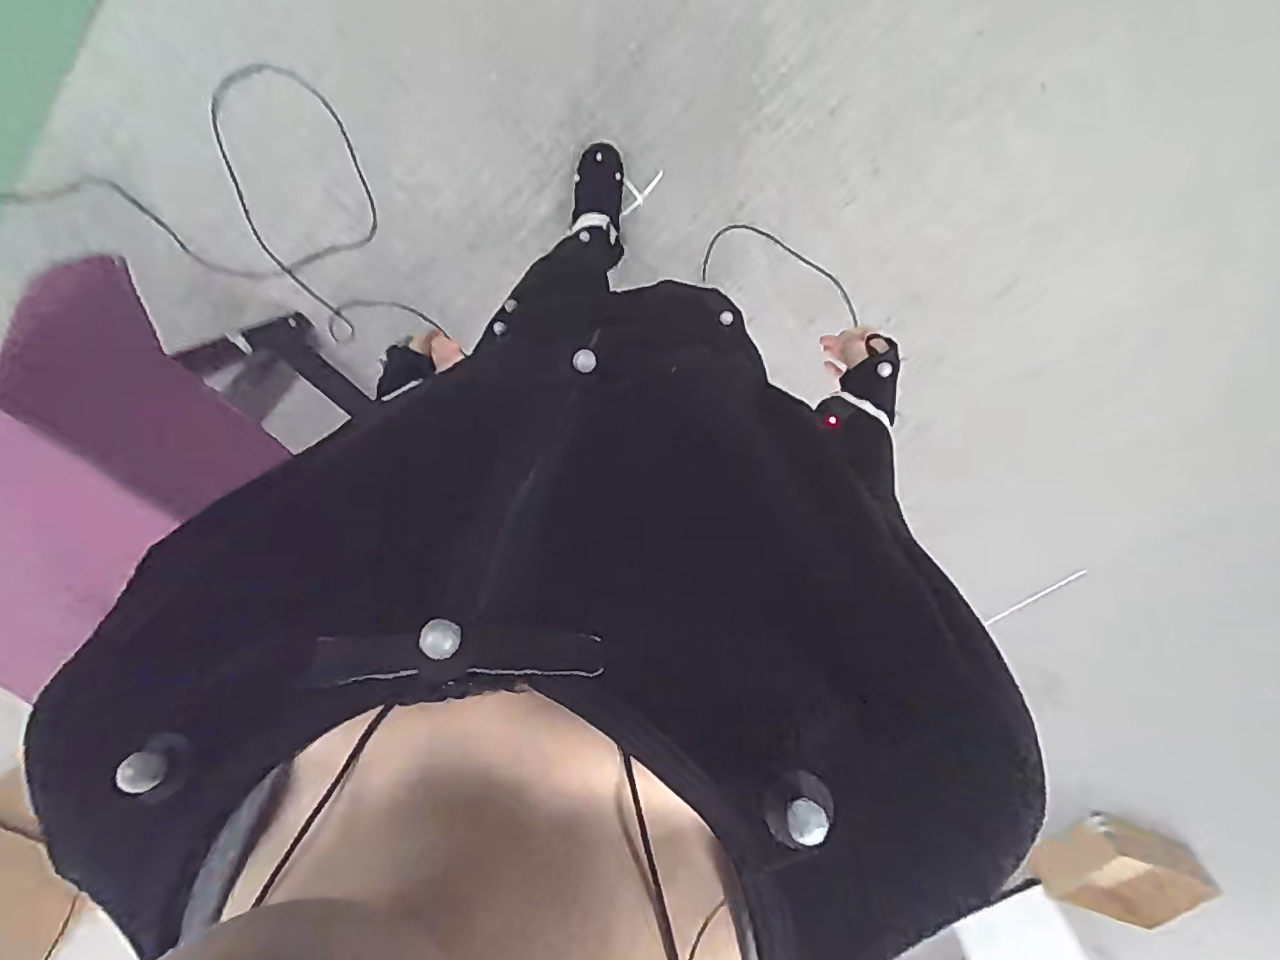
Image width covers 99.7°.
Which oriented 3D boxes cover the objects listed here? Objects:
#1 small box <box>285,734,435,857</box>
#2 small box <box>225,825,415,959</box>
[{"bbox_3d":[-0.524,0.628,1.045,0.179,0.176,0.168,-37,111,20],"label":"small box"},{"bbox_3d":[-0.520,0.713,0.903,0.168,0.176,0.179,-36,111,19],"label":"small box"}]
